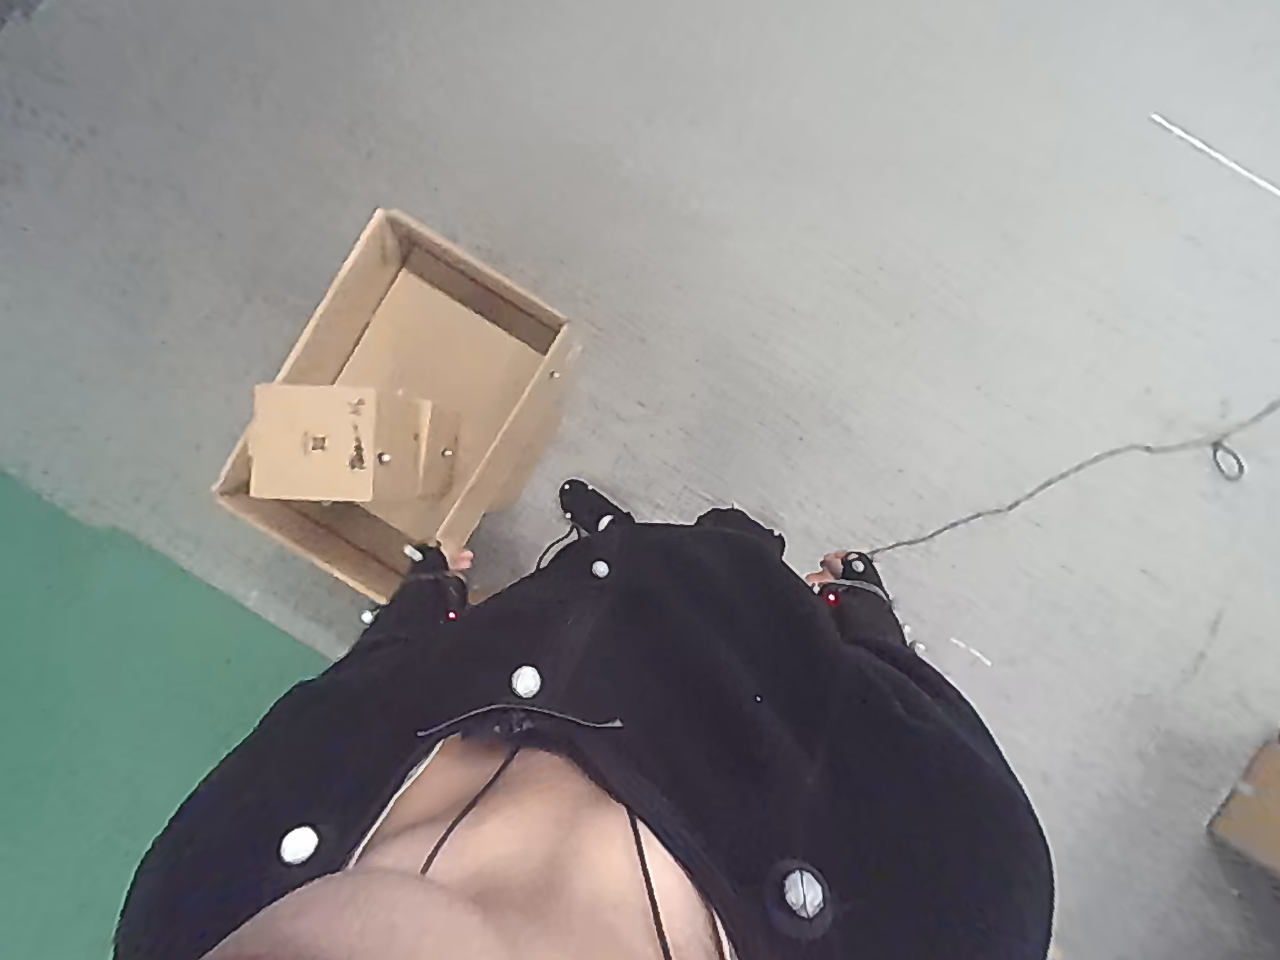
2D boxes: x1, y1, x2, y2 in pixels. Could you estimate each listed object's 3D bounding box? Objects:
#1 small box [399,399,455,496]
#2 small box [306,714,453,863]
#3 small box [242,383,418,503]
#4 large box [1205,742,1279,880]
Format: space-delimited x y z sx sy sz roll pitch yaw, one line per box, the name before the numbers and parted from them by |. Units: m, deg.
small box | -0.462 -0.066 1.007 0.179 0.176 0.168 8 90 0
small box | -0.450 0.532 0.956 0.179 0.176 0.168 5 92 -1
small box | -0.472 -0.052 0.843 0.179 0.176 0.168 2 91 0
large box | 1.818 0.955 1.357 0.408 0.320 0.320 32 90 1
